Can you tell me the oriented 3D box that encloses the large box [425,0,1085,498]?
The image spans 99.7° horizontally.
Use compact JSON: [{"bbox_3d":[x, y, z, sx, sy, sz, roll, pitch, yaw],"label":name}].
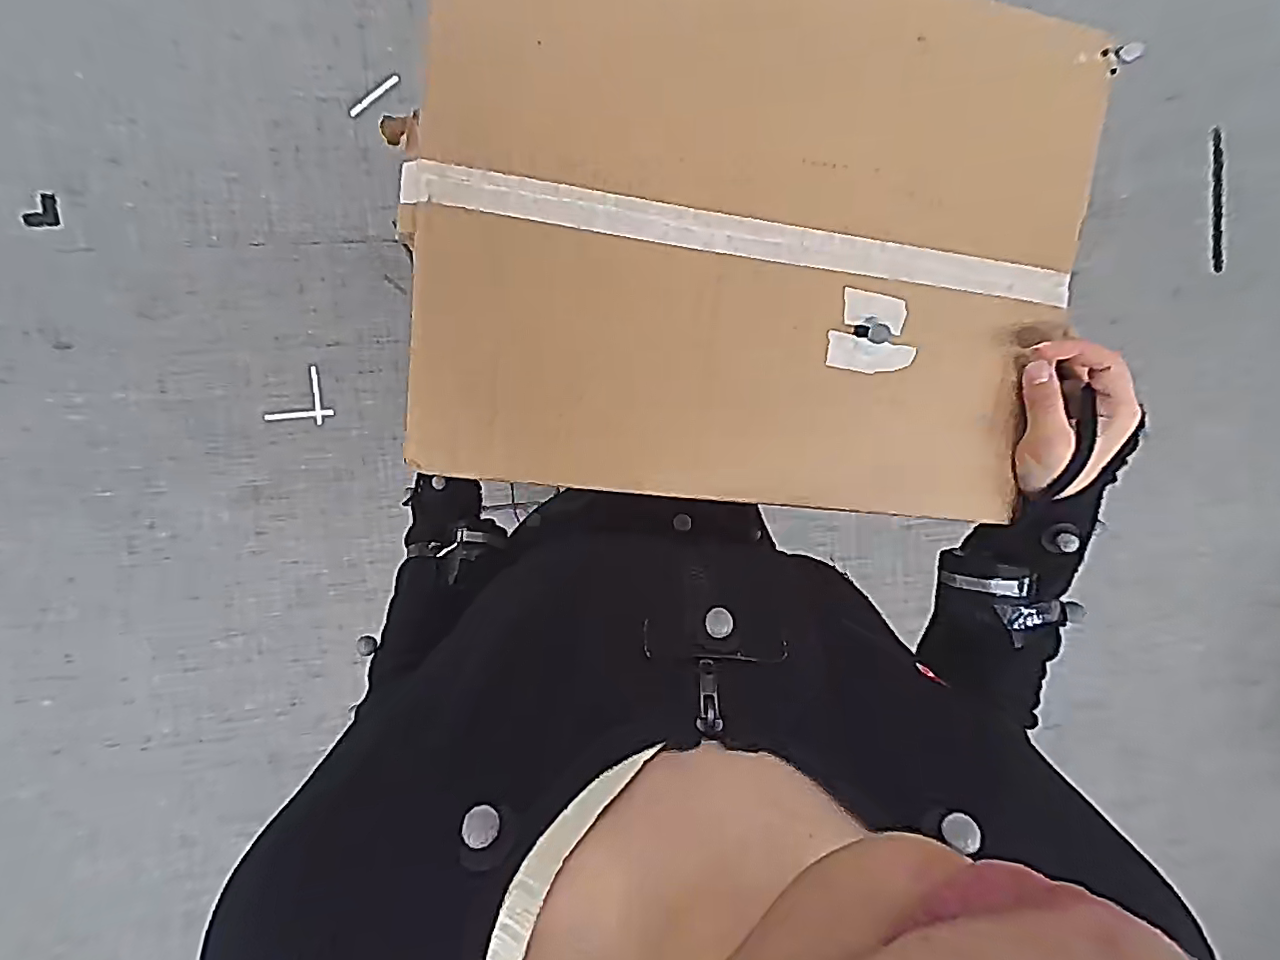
[{"bbox_3d":[0.053,-0.171,0.475,0.408,0.320,0.320,5,98,-11],"label":"large box"}]
